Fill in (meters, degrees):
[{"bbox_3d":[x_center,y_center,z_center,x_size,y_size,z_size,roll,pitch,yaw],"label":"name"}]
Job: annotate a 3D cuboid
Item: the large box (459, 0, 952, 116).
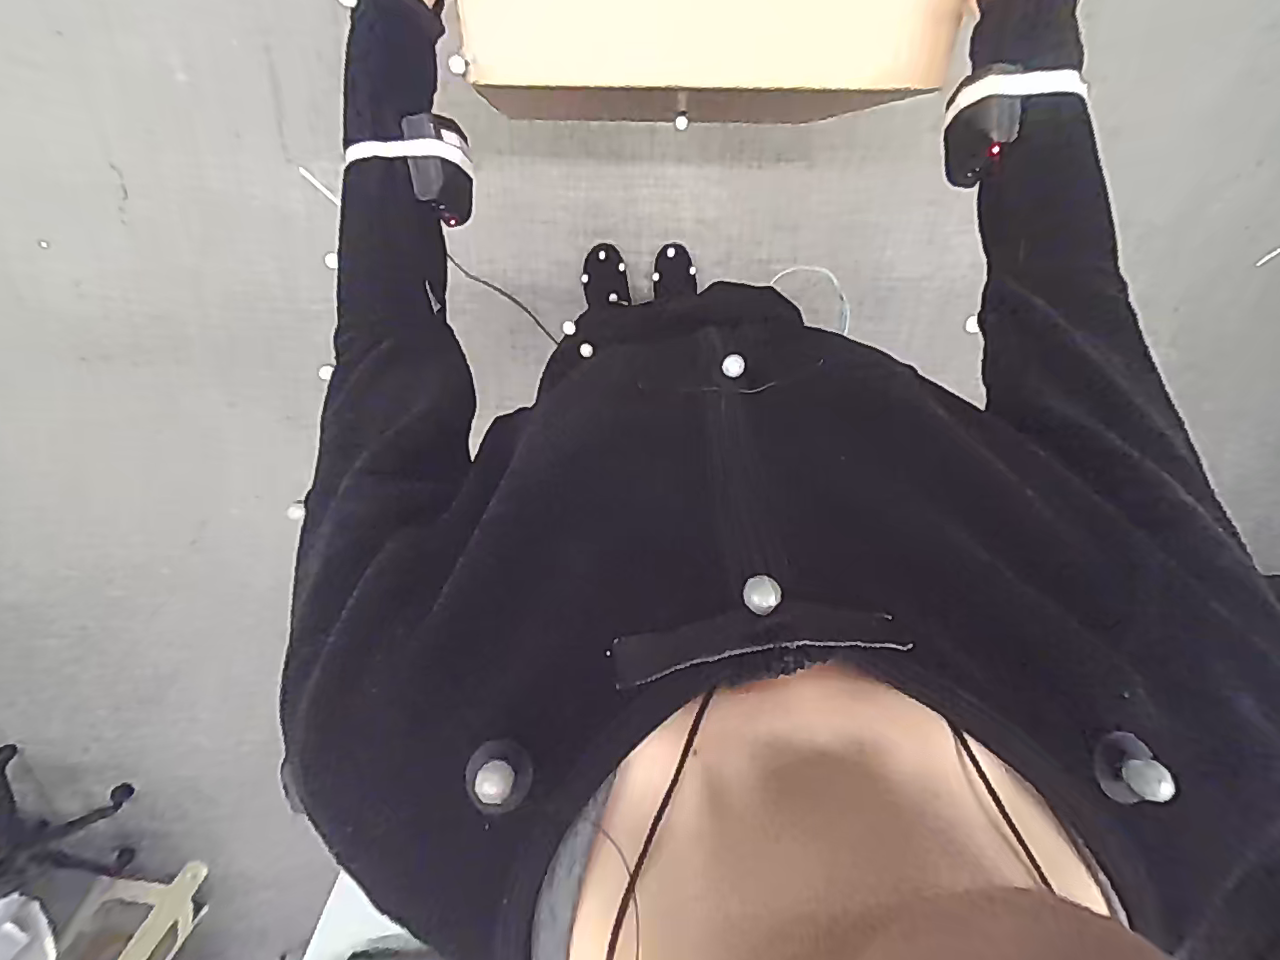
[{"bbox_3d":[0.046,-0.536,0.508,0.408,0.320,0.320,-3,120,-4],"label":"large box"}]
